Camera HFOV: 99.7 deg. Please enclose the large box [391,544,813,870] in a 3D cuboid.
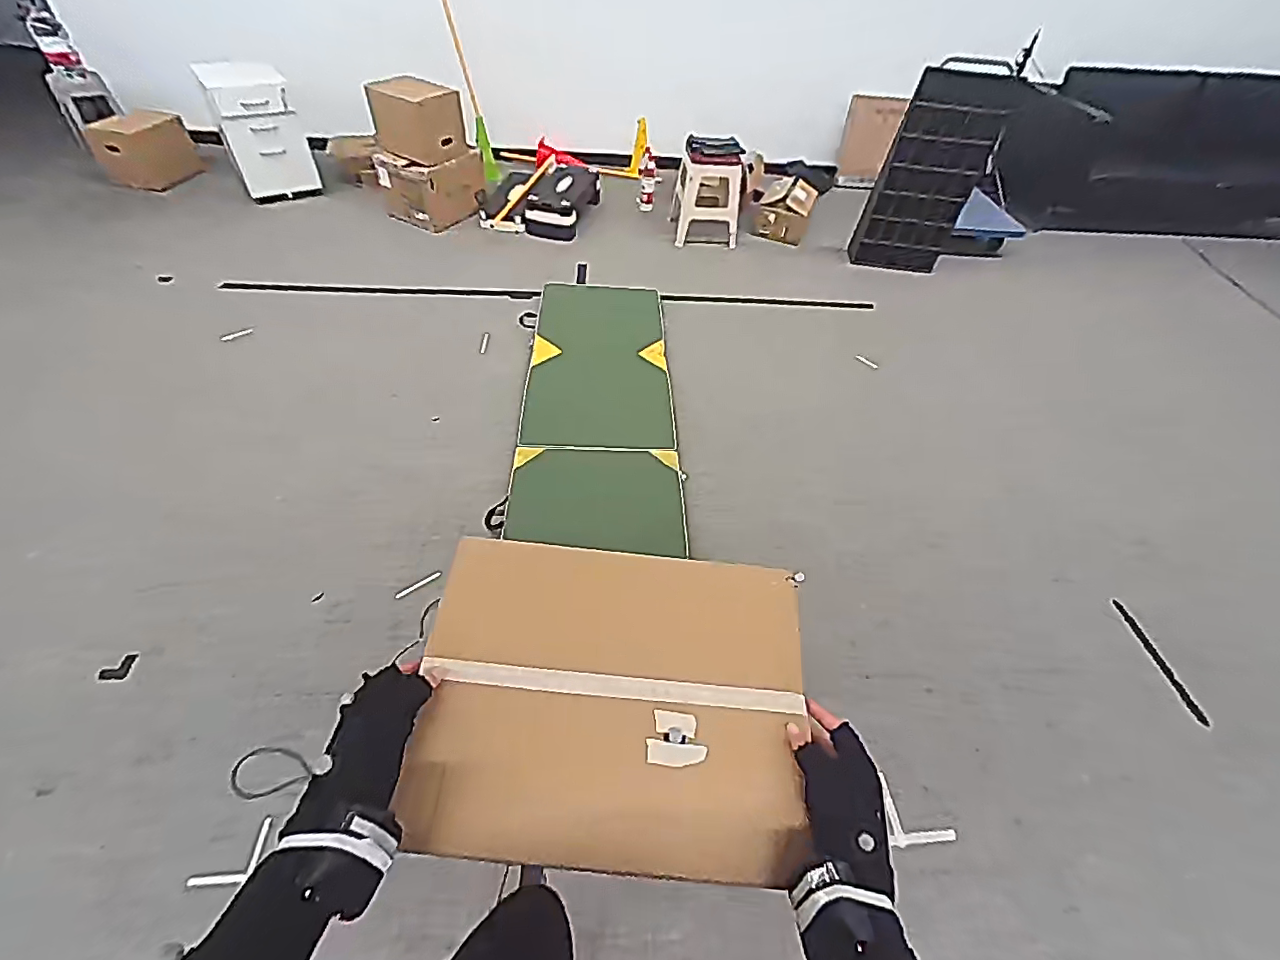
[{"bbox_3d":[-0.038,0.306,0.706,0.408,0.320,0.320,6,55,-1],"label":"large box"}]
